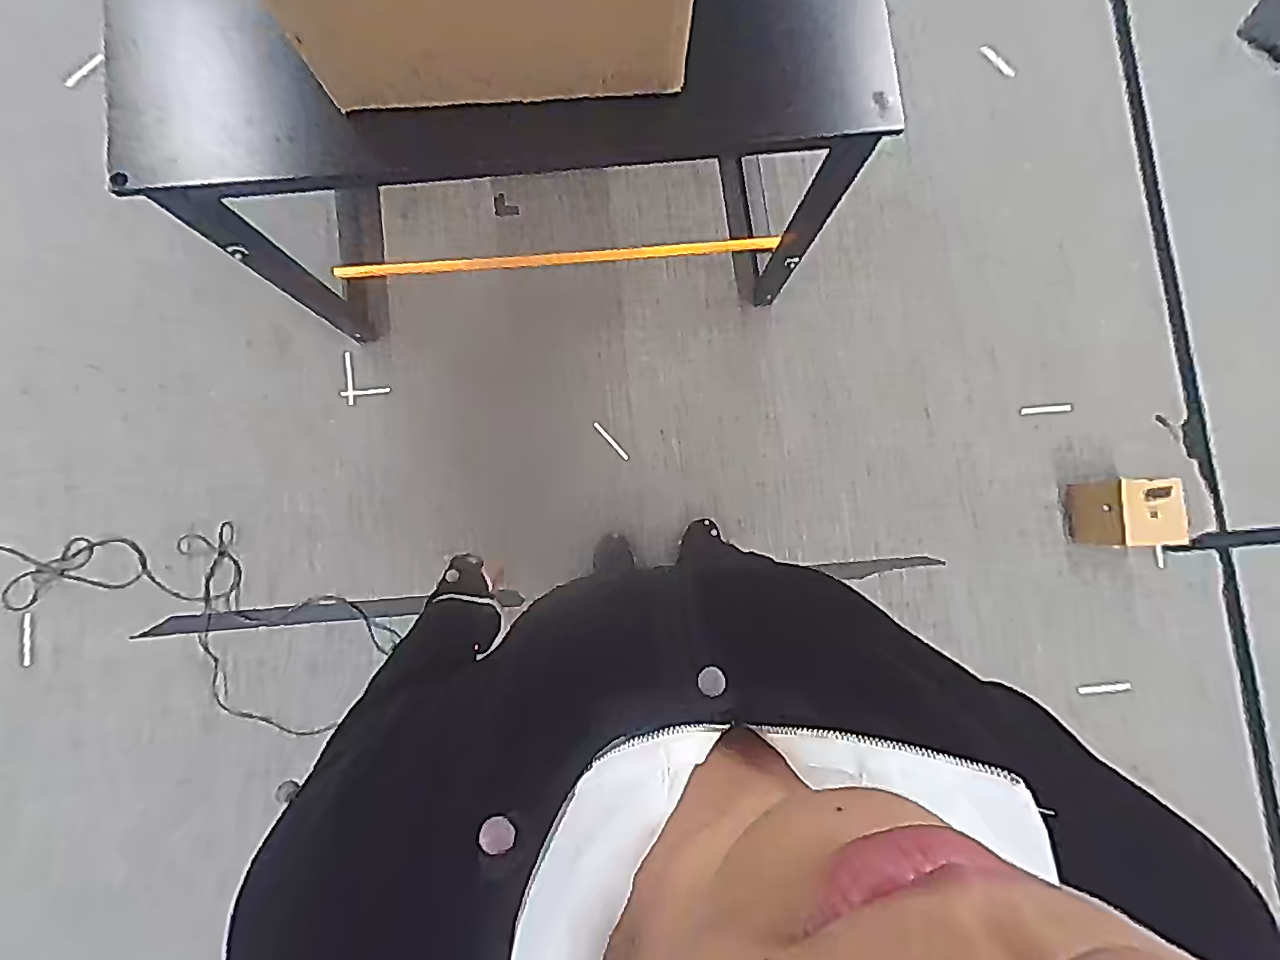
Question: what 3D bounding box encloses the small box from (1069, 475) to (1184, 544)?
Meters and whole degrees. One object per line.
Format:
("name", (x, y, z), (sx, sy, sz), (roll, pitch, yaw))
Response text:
("small box", (1.317, 0.083, 1.475), (0.168, 0.176, 0.179), (-2, 86, -2))
